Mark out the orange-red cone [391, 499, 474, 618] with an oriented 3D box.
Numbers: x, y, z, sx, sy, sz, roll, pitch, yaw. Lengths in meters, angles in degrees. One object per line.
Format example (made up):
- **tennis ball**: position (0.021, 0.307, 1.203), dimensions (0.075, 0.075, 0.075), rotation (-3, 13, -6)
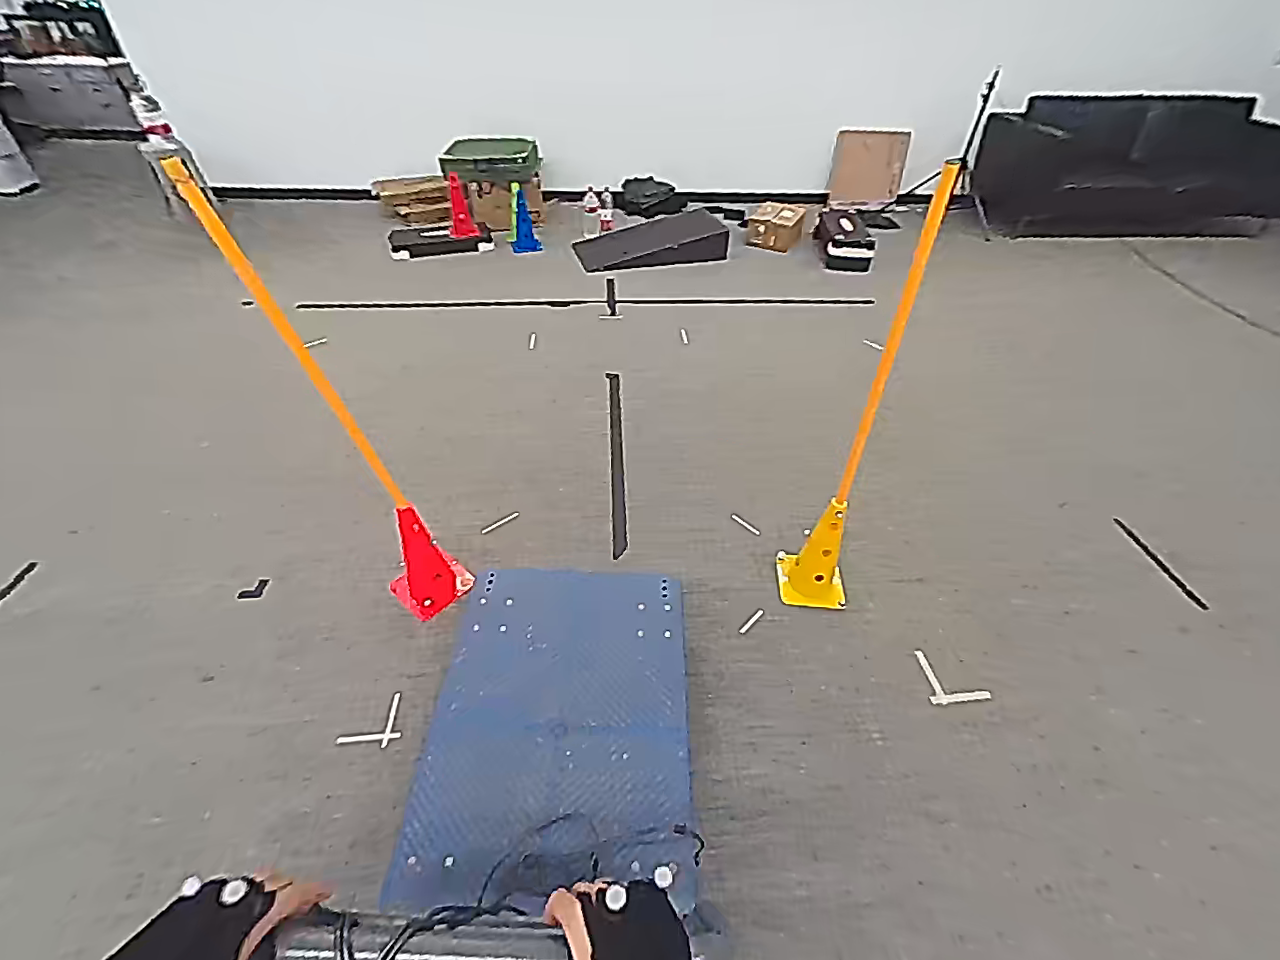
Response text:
- **orange-red cone**: position (-0.632, 0.192, 1.559), dimensions (0.198, 0.360, 0.199), rotation (33, 49, 27)
